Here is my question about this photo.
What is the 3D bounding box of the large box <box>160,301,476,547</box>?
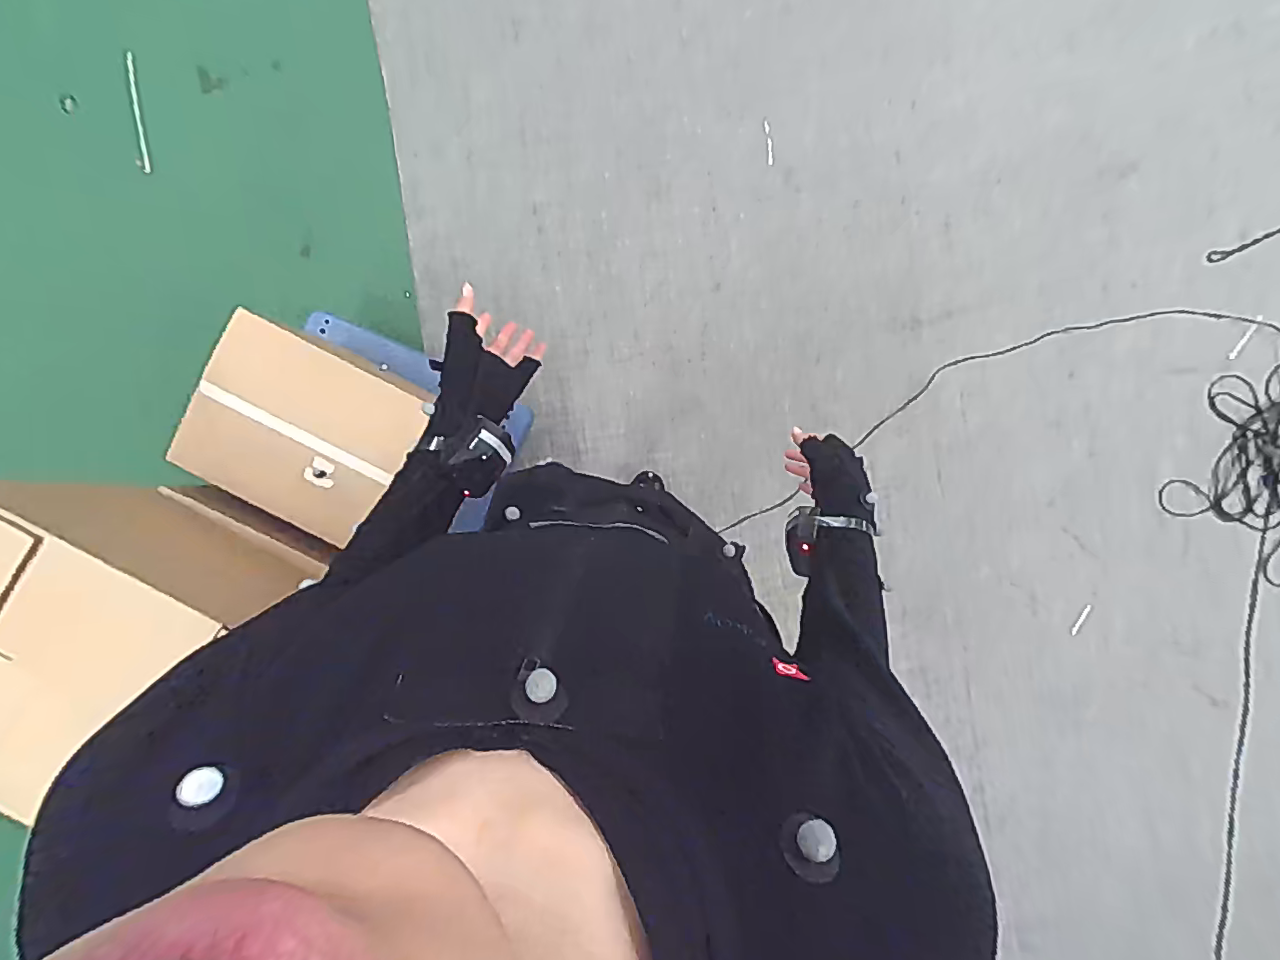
[{"bbox_3d":[-0.623,-0.103,1.121,0.408,0.320,0.320,28,92,-2],"label":"large box"}]
